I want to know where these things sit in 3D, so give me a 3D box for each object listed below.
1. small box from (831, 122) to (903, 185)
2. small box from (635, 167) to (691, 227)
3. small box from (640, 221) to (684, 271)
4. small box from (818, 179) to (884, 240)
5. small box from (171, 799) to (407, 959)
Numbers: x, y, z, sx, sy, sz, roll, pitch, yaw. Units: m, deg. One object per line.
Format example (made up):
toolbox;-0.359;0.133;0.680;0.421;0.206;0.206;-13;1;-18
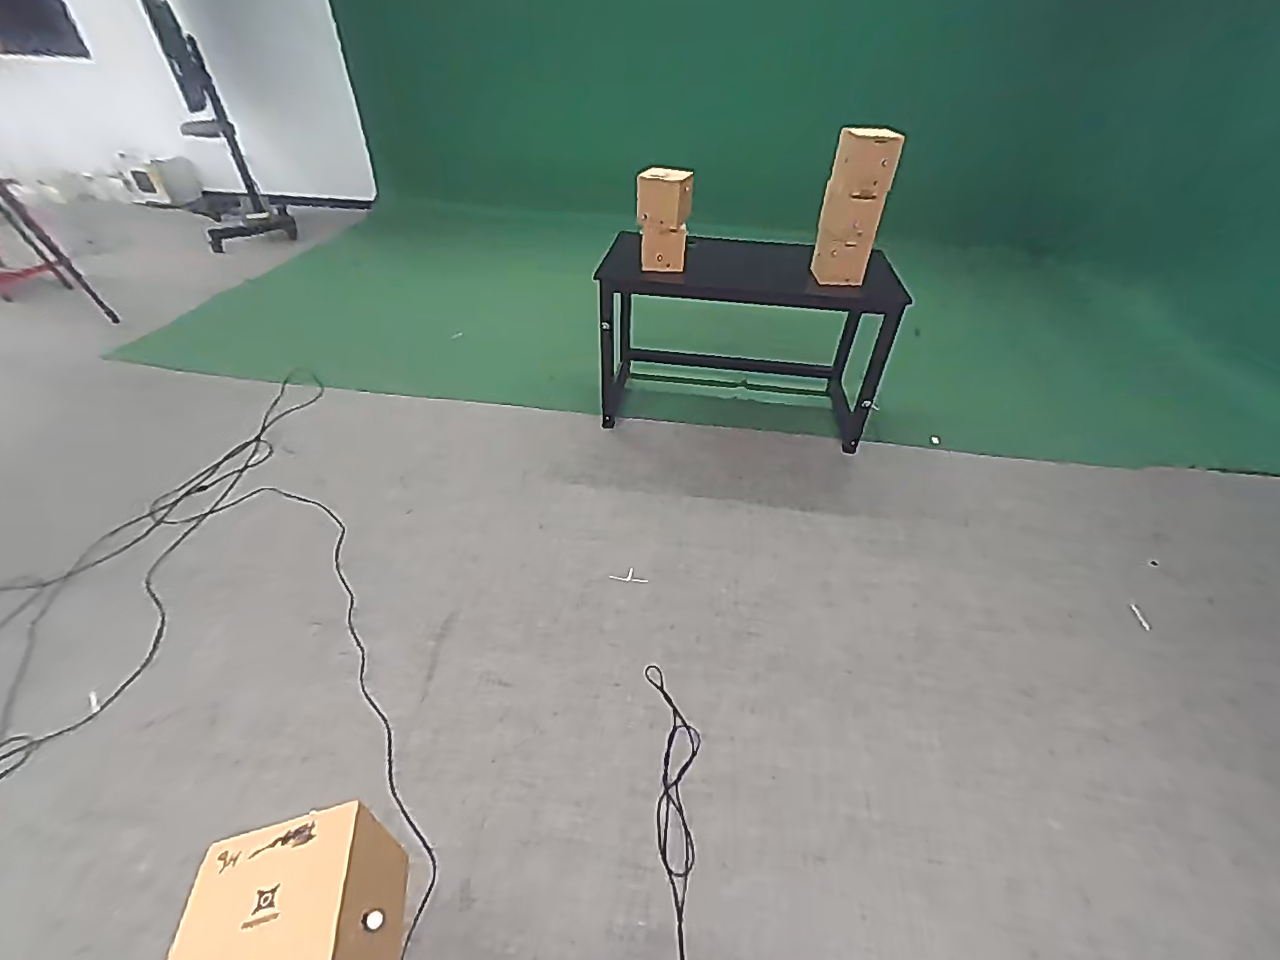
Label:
small box;0.788;-1.144;1.893;0.168;0.176;0.179;2;39;-1
small box;0.087;-1.085;2.072;0.168;0.176;0.179;16;42;14
small box;0.085;-0.959;2.178;0.168;0.176;0.179;1;42;-2
small box;0.776;-1.008;2.009;0.168;0.176;0.179;1;40;0
small box;-0.376;0.502;0.604;0.168;0.176;0.179;-13;37;-8
